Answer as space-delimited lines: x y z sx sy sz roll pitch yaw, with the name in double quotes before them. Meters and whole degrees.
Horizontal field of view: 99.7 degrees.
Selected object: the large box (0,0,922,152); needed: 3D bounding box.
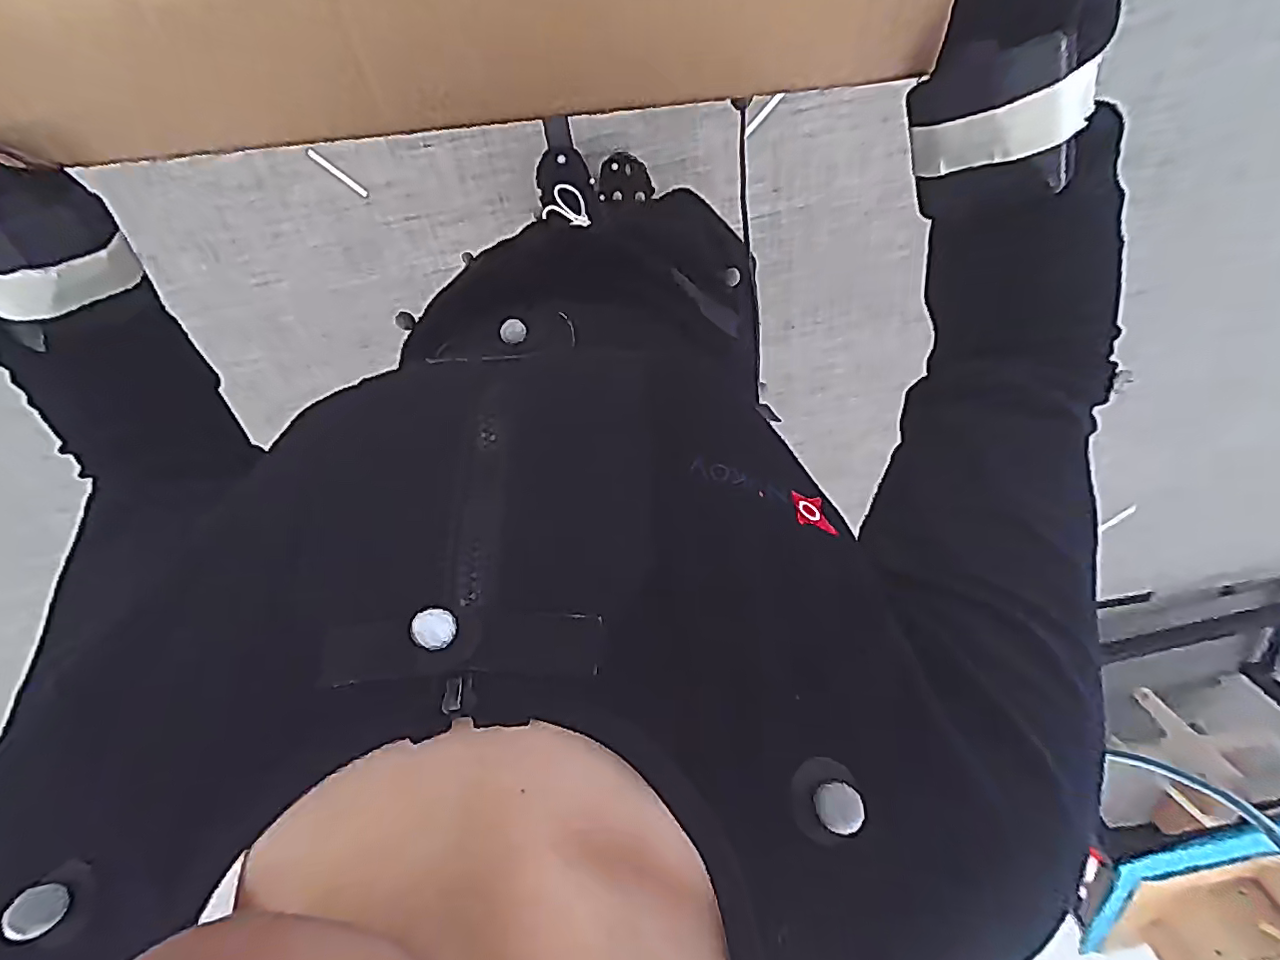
"large box" -0.098 -0.381 0.233 0.408 0.320 0.320 -6 136 0
